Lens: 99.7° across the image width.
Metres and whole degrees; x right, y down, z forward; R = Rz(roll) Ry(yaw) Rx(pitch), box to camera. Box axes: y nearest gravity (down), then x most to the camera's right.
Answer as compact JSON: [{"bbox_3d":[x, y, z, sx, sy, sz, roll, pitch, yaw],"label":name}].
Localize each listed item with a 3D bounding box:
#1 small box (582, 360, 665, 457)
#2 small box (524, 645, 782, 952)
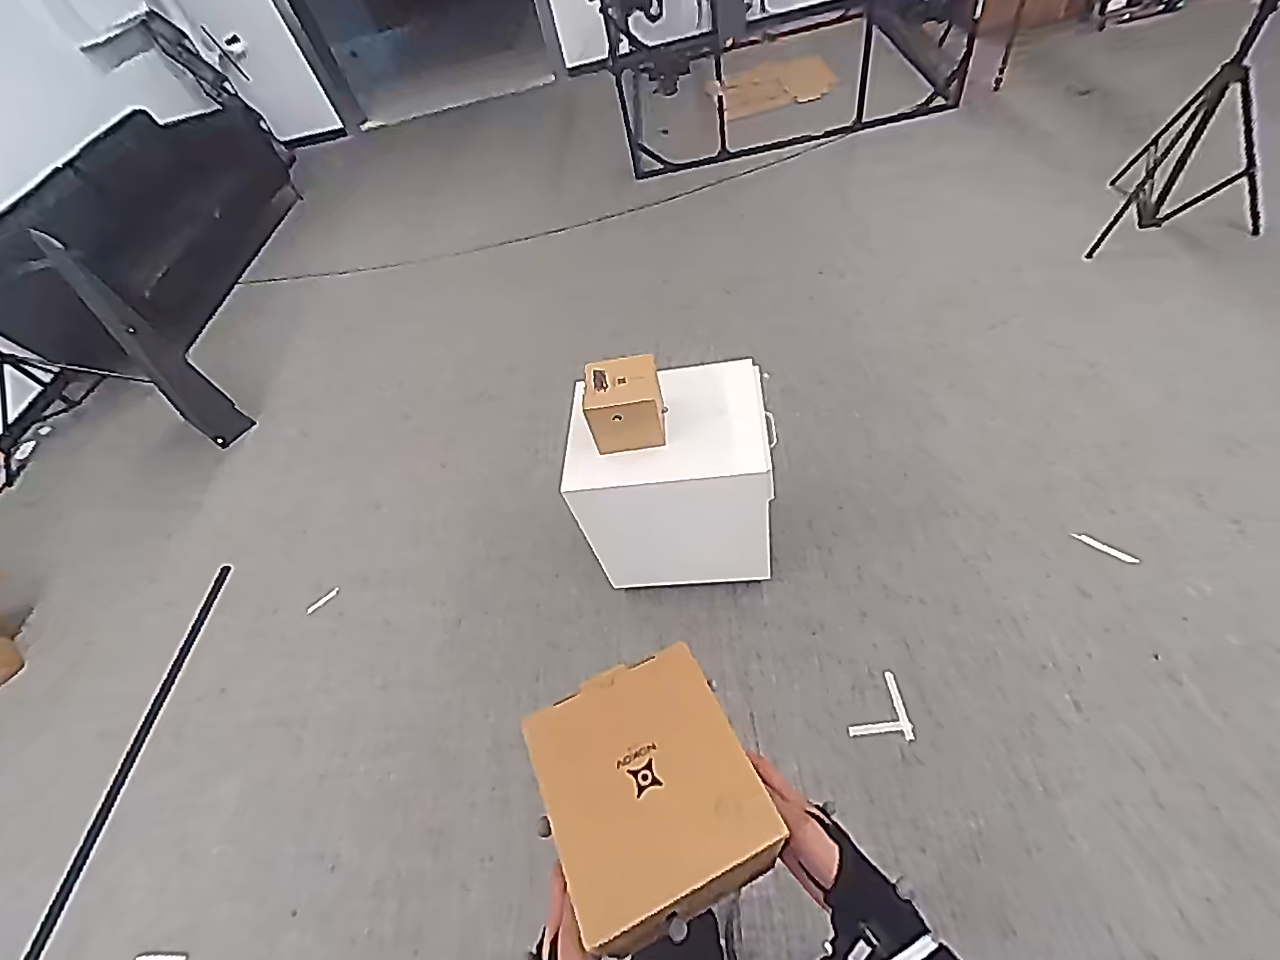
[{"bbox_3d":[-0.037,-0.175,1.369,0.179,0.176,0.168,-7,52,8],"label":"small box"},{"bbox_3d":[0.013,0.295,0.503,0.168,0.176,0.179,-22,46,-12],"label":"small box"}]
